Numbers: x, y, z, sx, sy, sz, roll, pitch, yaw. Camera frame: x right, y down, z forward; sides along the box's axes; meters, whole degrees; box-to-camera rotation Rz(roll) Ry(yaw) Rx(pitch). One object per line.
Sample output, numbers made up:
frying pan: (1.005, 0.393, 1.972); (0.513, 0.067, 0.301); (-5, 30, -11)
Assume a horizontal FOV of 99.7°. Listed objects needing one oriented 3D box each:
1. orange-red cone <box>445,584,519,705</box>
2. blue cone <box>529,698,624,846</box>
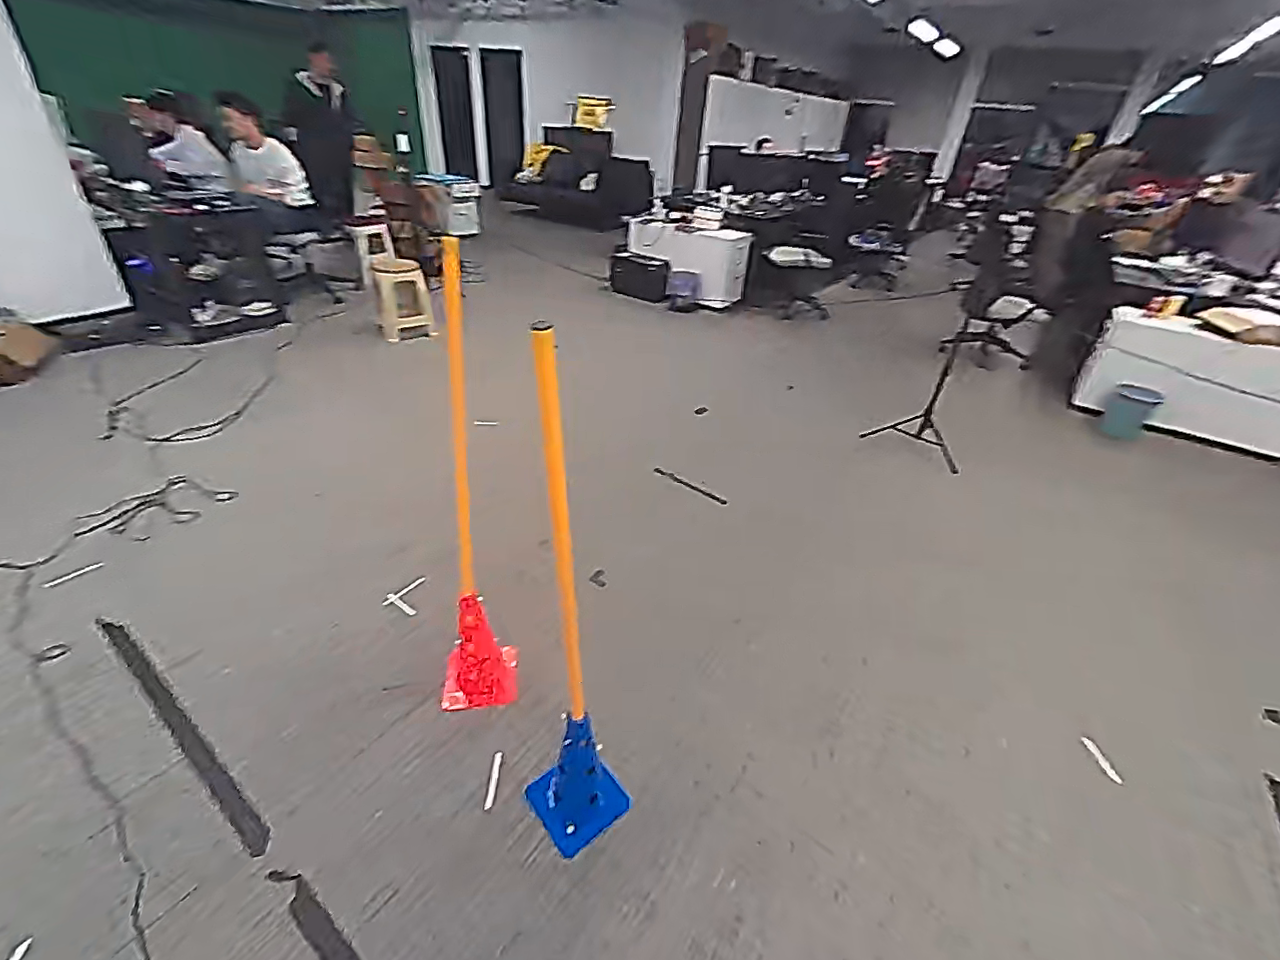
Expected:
orange-red cone: (-0.448, 0.425, 1.483); (0.198, 0.360, 0.199); (-2, 36, -8)
blue cone: (-0.145, 0.633, 1.235); (0.193, 0.380, 0.192); (-22, 41, -33)
